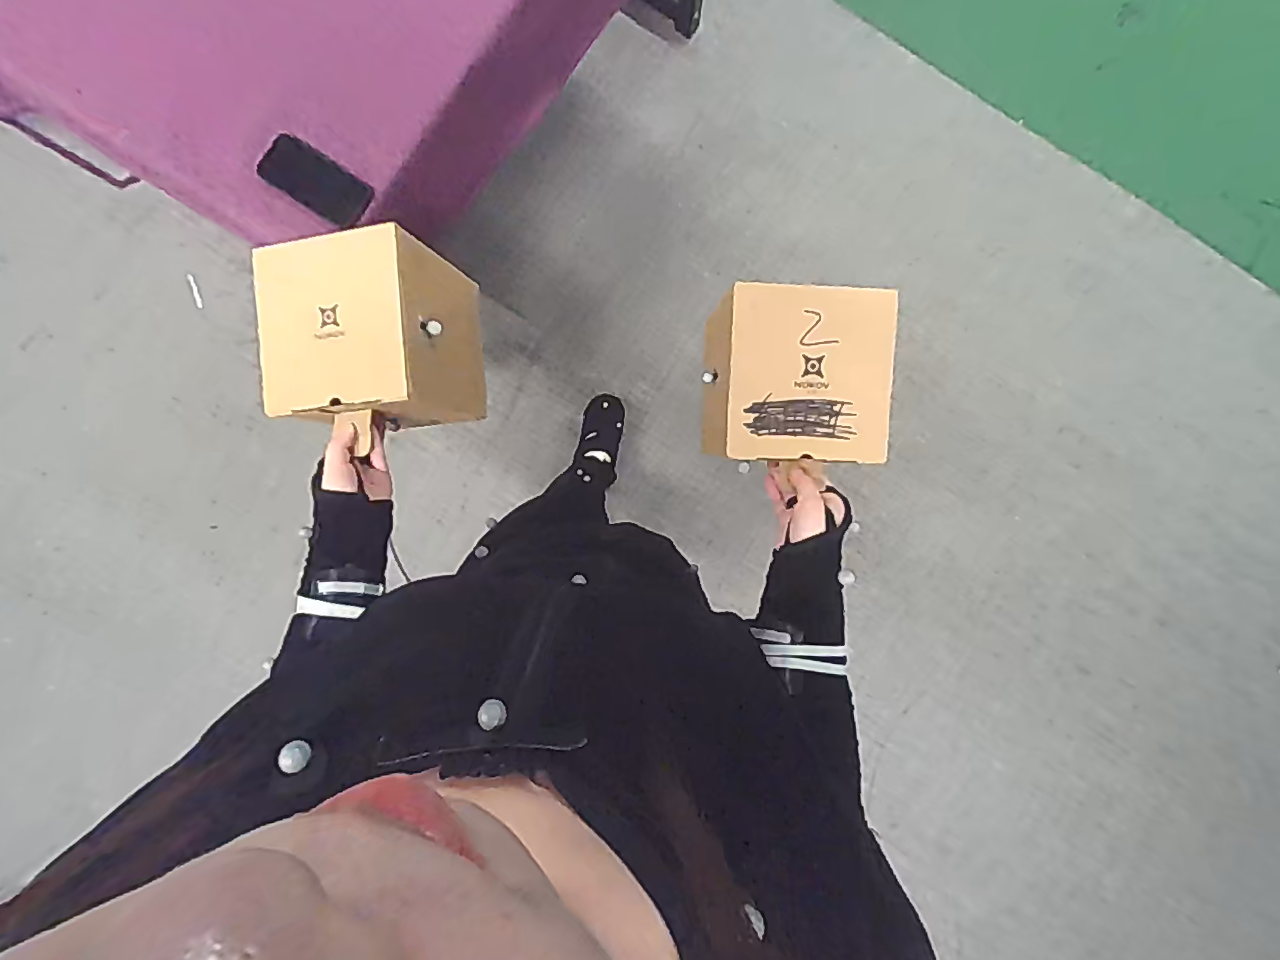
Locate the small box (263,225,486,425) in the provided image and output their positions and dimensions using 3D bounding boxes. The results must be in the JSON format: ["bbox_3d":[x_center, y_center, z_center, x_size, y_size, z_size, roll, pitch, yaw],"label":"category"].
[{"bbox_3d":[-0.294,-0.163,0.628,0.168,0.176,0.179,-4,90,10],"label":"small box"}]
